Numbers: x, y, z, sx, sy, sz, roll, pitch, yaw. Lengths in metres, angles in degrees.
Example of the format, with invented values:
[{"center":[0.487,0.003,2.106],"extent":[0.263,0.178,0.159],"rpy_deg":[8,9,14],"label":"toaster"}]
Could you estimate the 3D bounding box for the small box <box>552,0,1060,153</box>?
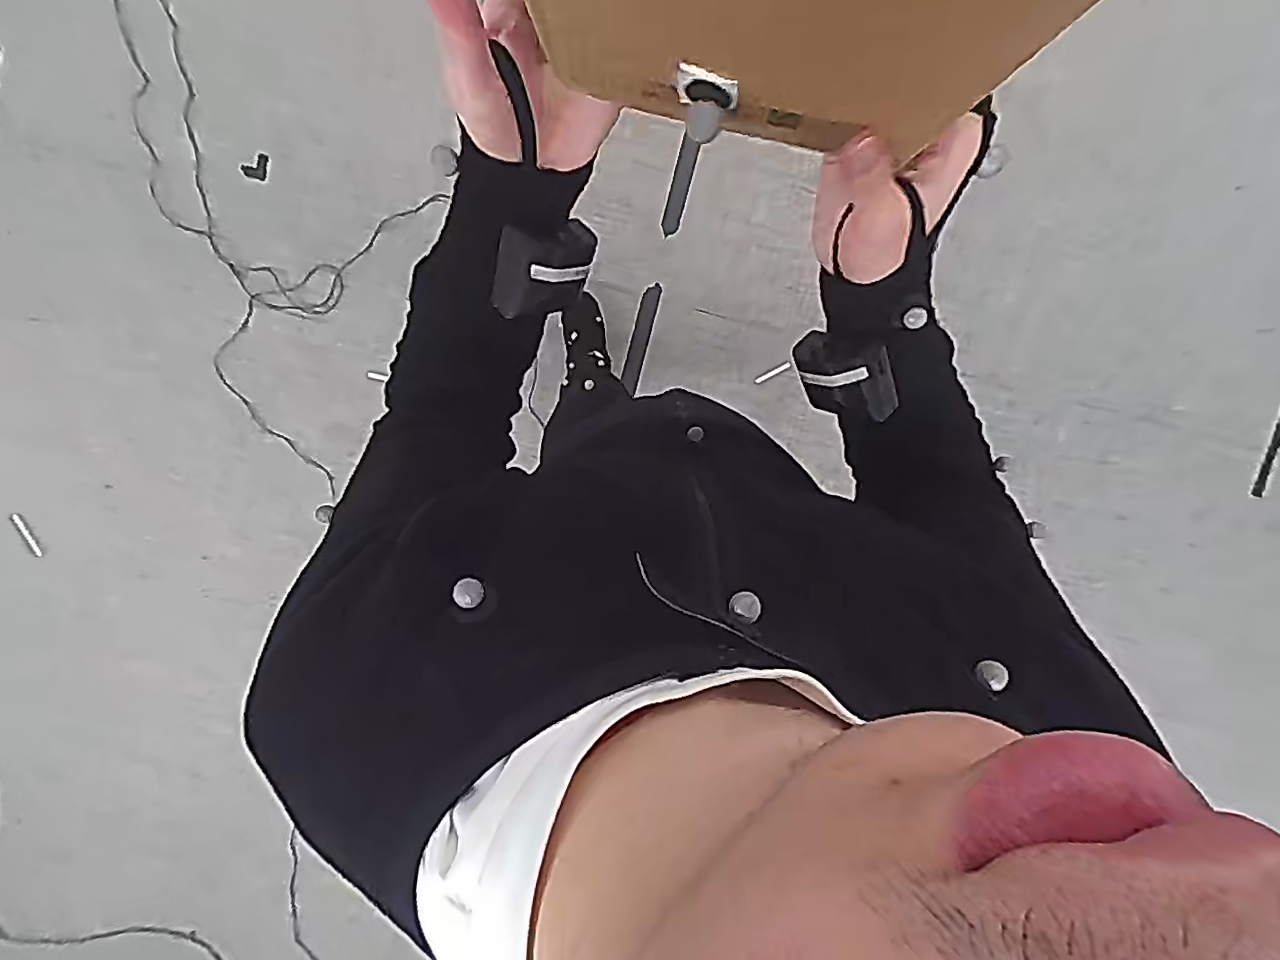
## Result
[{"center":[0.055,-0.237,0.168],"extent":[0.168,0.176,0.179],"rpy_deg":[11,104,3],"label":"small box"}]
